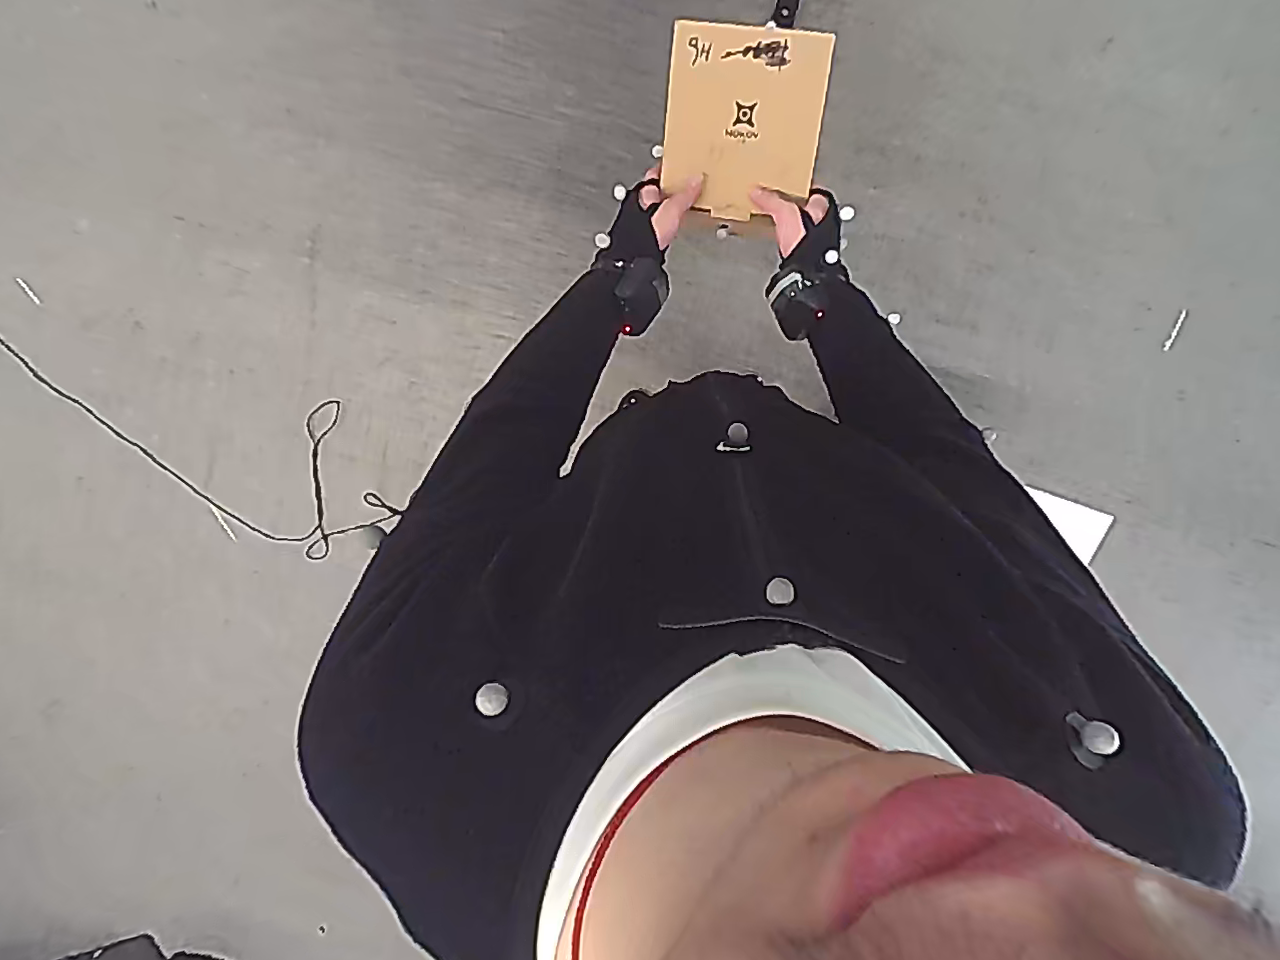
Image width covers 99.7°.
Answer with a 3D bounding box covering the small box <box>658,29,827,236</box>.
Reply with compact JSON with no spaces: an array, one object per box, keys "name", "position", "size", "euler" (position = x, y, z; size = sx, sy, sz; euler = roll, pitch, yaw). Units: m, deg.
[{"name":"small box","position":[0.112,-0.404,0.659],"size":[0.168,0.176,0.179],"euler":[4,106,2]}]
